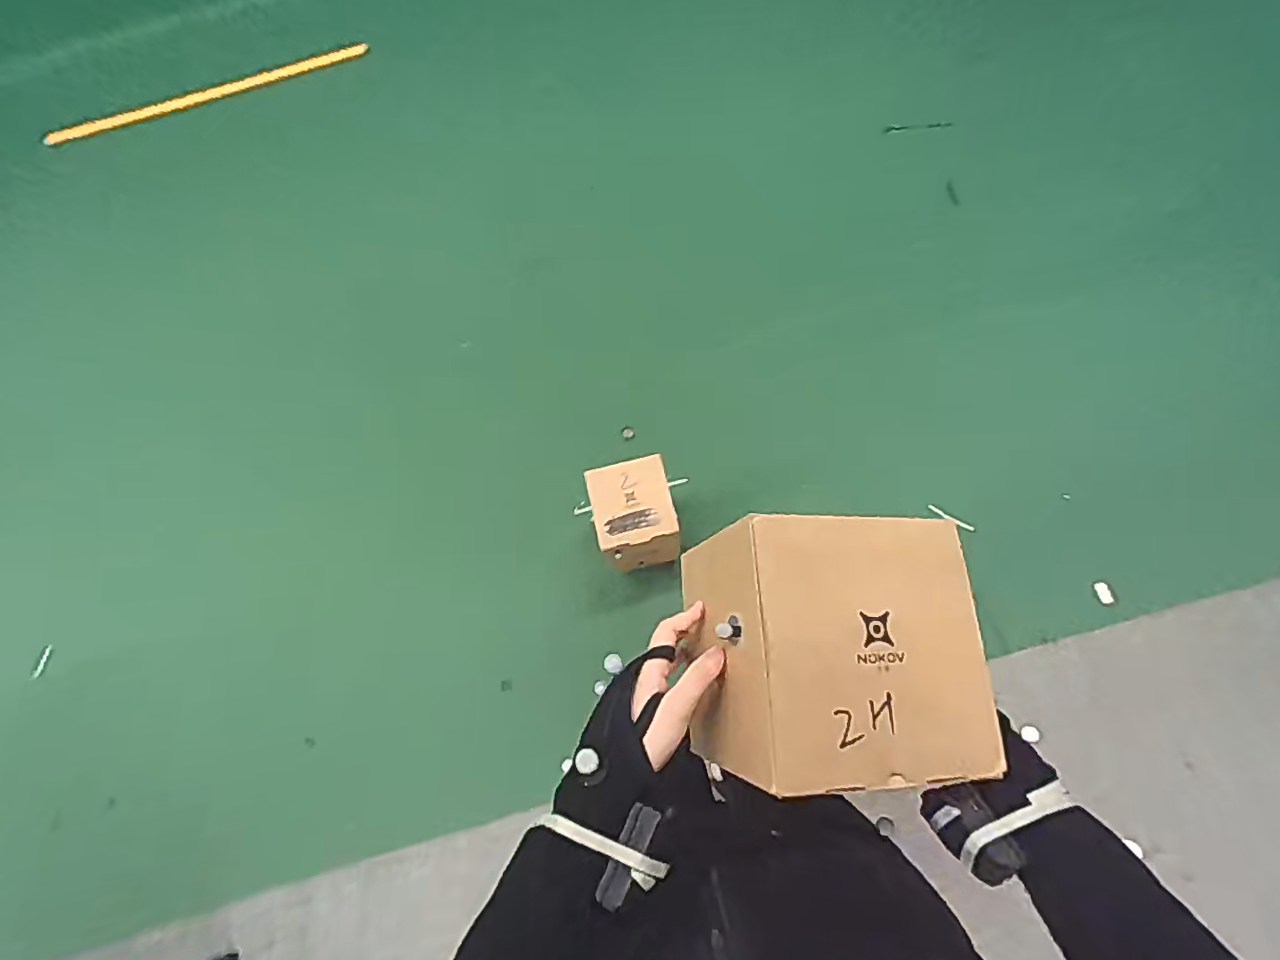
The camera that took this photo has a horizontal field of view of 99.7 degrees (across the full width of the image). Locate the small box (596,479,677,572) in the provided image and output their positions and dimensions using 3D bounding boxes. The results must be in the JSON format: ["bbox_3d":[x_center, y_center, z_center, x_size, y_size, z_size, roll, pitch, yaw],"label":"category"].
[{"bbox_3d":[-0.007,0.119,1.347,0.168,0.176,0.179,-13,73,0],"label":"small box"}]

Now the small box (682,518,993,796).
[{"bbox_3d":[0.136,0.137,0.443,0.168,0.176,0.179,2,72,-12],"label":"small box"}]
